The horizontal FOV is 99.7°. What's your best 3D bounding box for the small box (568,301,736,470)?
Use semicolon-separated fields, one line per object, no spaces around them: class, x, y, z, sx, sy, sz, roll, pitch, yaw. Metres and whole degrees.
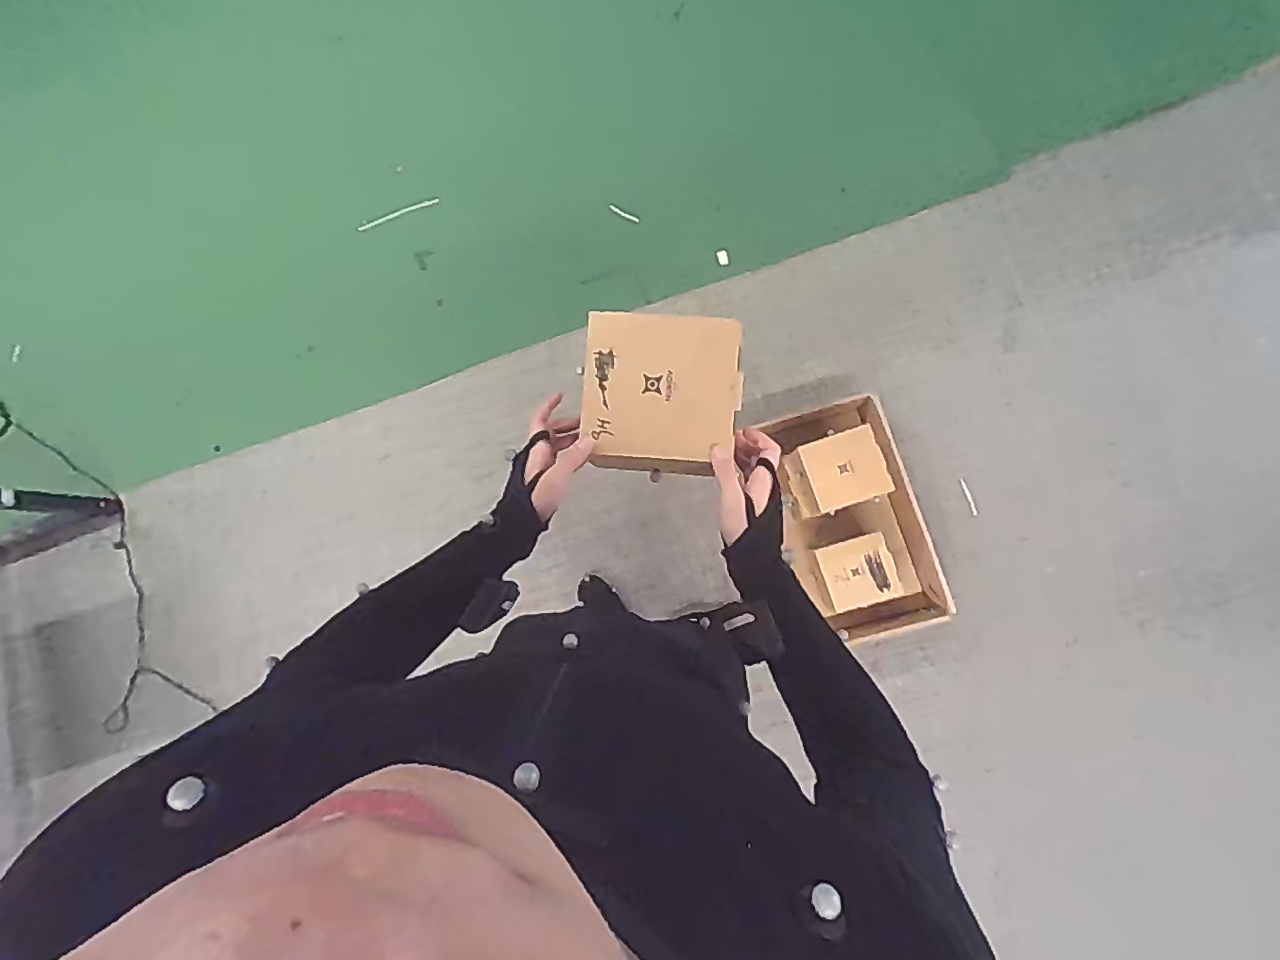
small box;0.015;-0.105;0.675;0.179;0.176;0.168;4;85;2

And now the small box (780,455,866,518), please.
small box;0.490;0.002;1.473;0.179;0.176;0.168;-18;82;5

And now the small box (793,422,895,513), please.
small box;0.482;-0.022;1.313;0.179;0.176;0.168;-19;82;5
